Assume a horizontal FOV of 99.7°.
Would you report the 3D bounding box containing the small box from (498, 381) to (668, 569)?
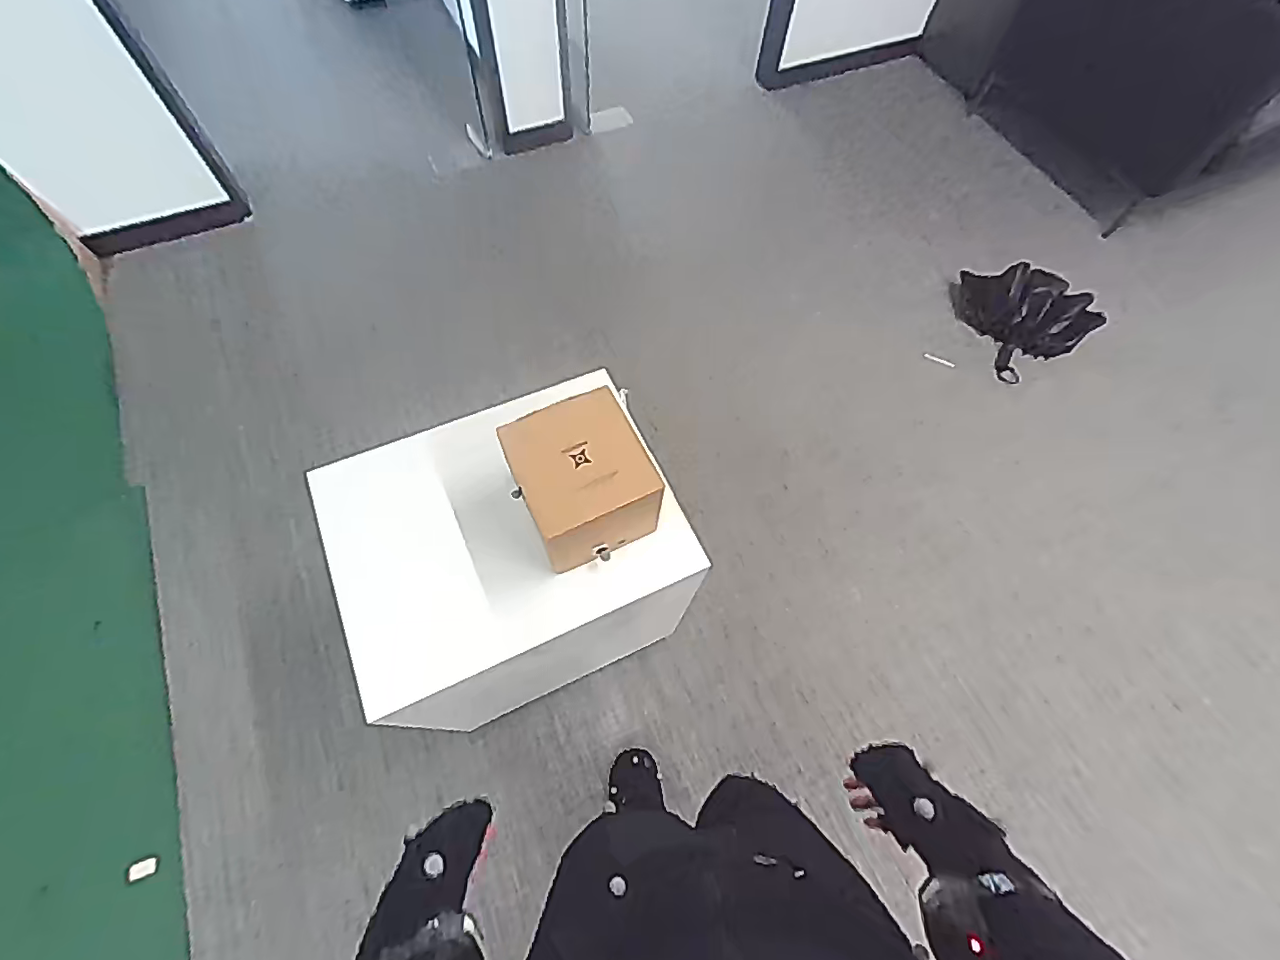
[{"bbox_3d":[-0.079,0.000,0.756,0.168,0.176,0.179,-25,69,-12],"label":"small box"}]
